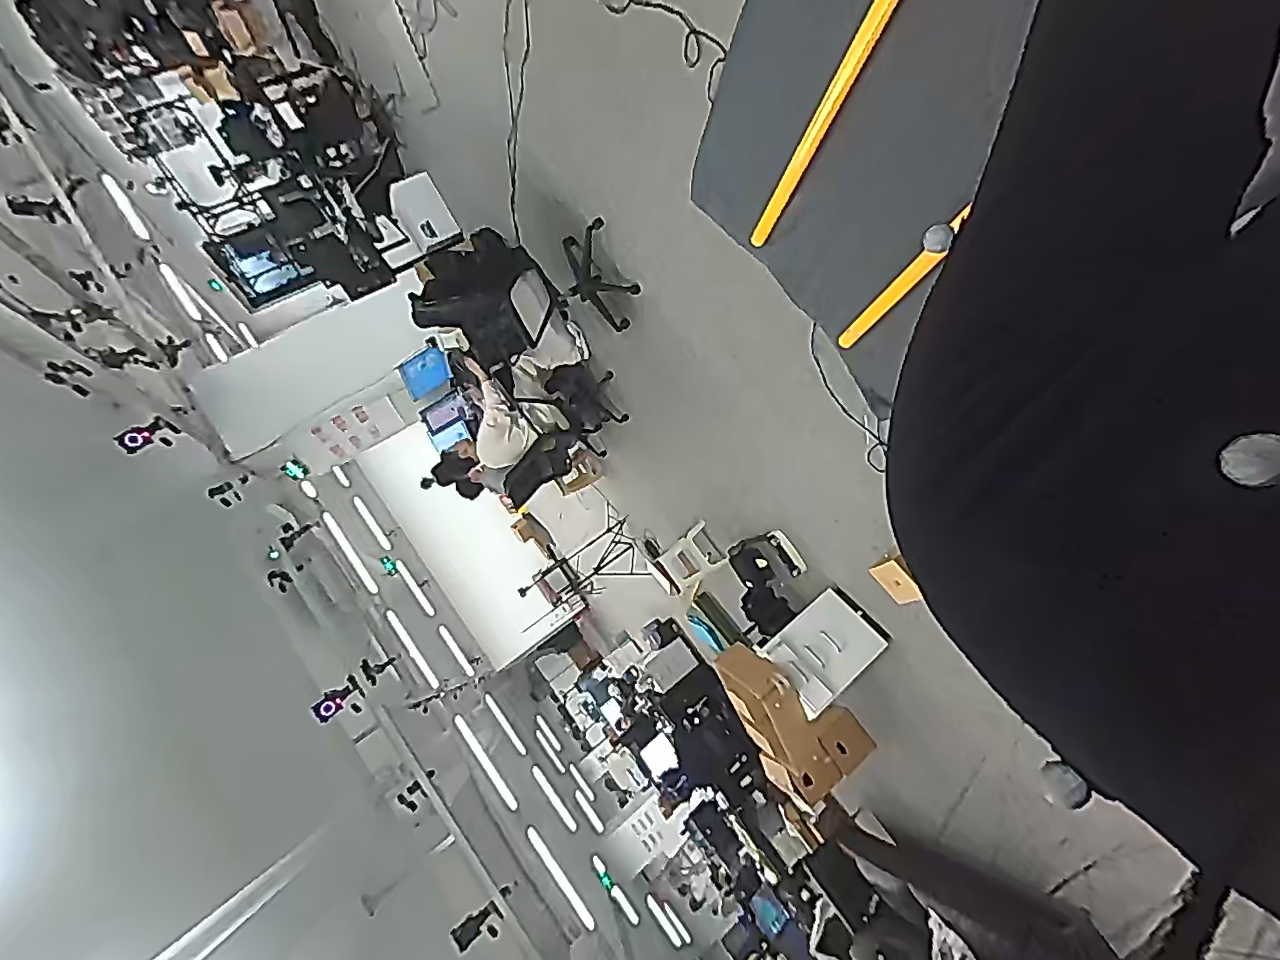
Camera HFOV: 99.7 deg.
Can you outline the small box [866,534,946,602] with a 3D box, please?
[{"bbox_3d":[0.975,0.319,1.970,0.168,0.176,0.179,51,161,12],"label":"small box"}]
